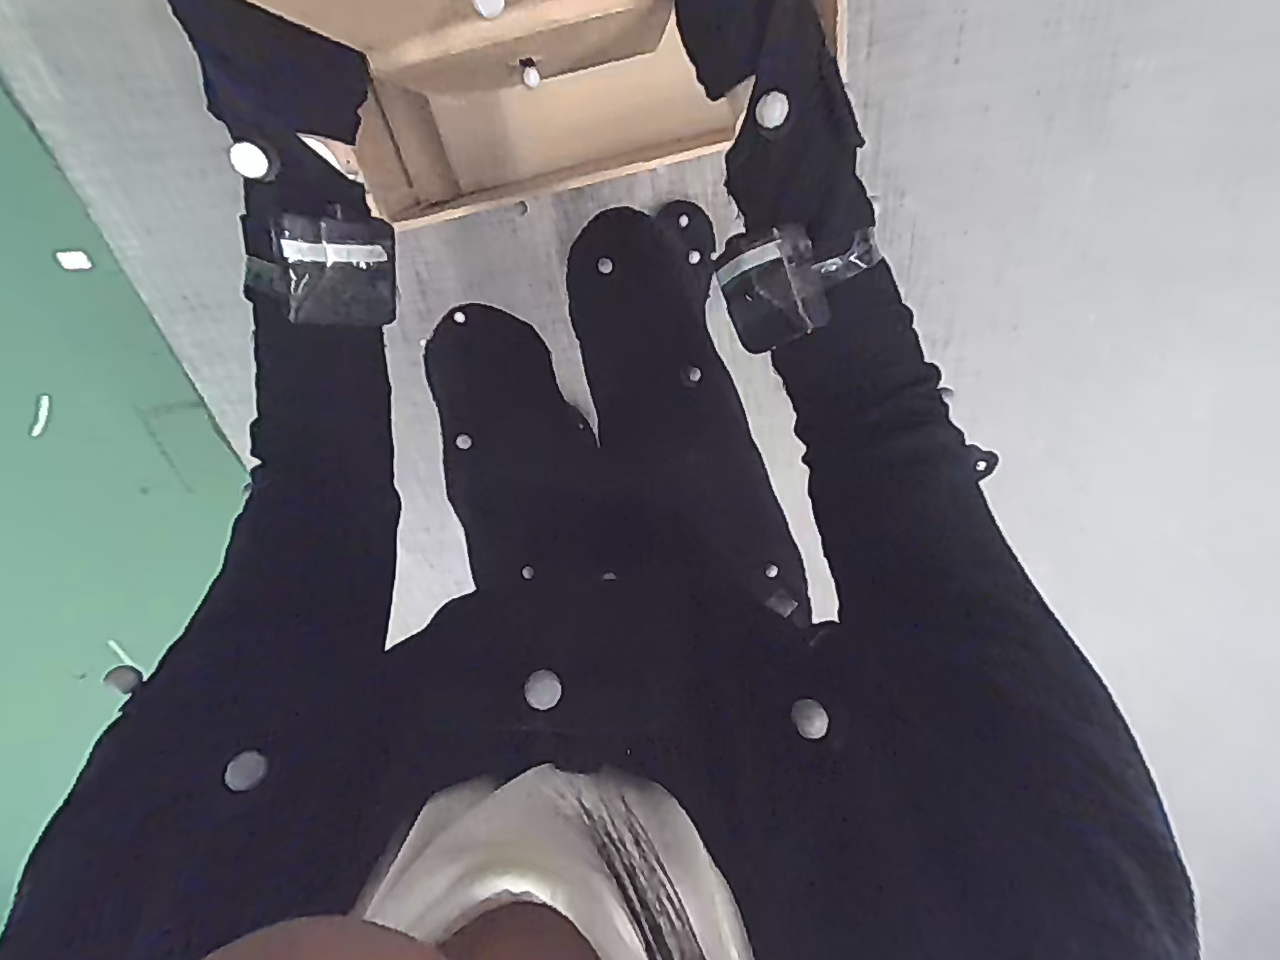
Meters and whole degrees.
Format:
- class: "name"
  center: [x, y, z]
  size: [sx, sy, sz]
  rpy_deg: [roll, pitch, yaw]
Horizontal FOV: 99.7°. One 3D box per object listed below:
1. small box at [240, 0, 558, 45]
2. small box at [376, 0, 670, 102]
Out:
- class: "small box"
  center: [-0.090, -0.298, 0.204]
  size: [0.168, 0.176, 0.179]
  rpy_deg: [-13, 119, 7]
- class: "small box"
  center: [-0.083, -0.366, 0.351]
  size: [0.179, 0.176, 0.168]
  rpy_deg: [-9, 119, 5]
